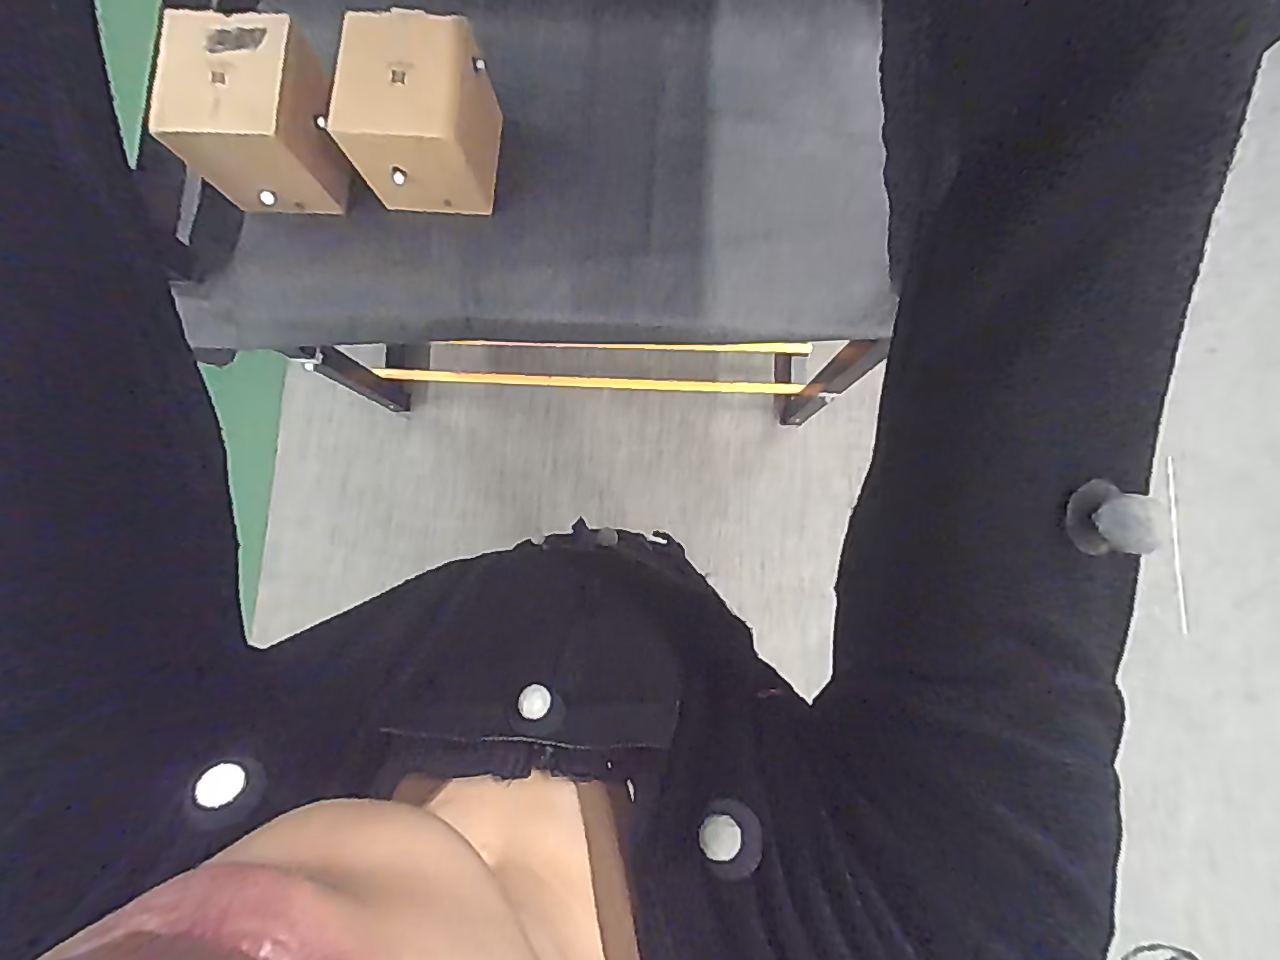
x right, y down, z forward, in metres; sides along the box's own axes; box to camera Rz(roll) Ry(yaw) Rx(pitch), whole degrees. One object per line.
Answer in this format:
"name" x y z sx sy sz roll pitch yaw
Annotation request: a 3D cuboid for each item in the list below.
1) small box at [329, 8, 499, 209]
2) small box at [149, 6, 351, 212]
"small box" -0.309 -0.517 0.775 0.168 0.176 0.179 3 82 0
"small box" -0.536 -0.519 0.773 0.168 0.176 0.179 2 83 0
